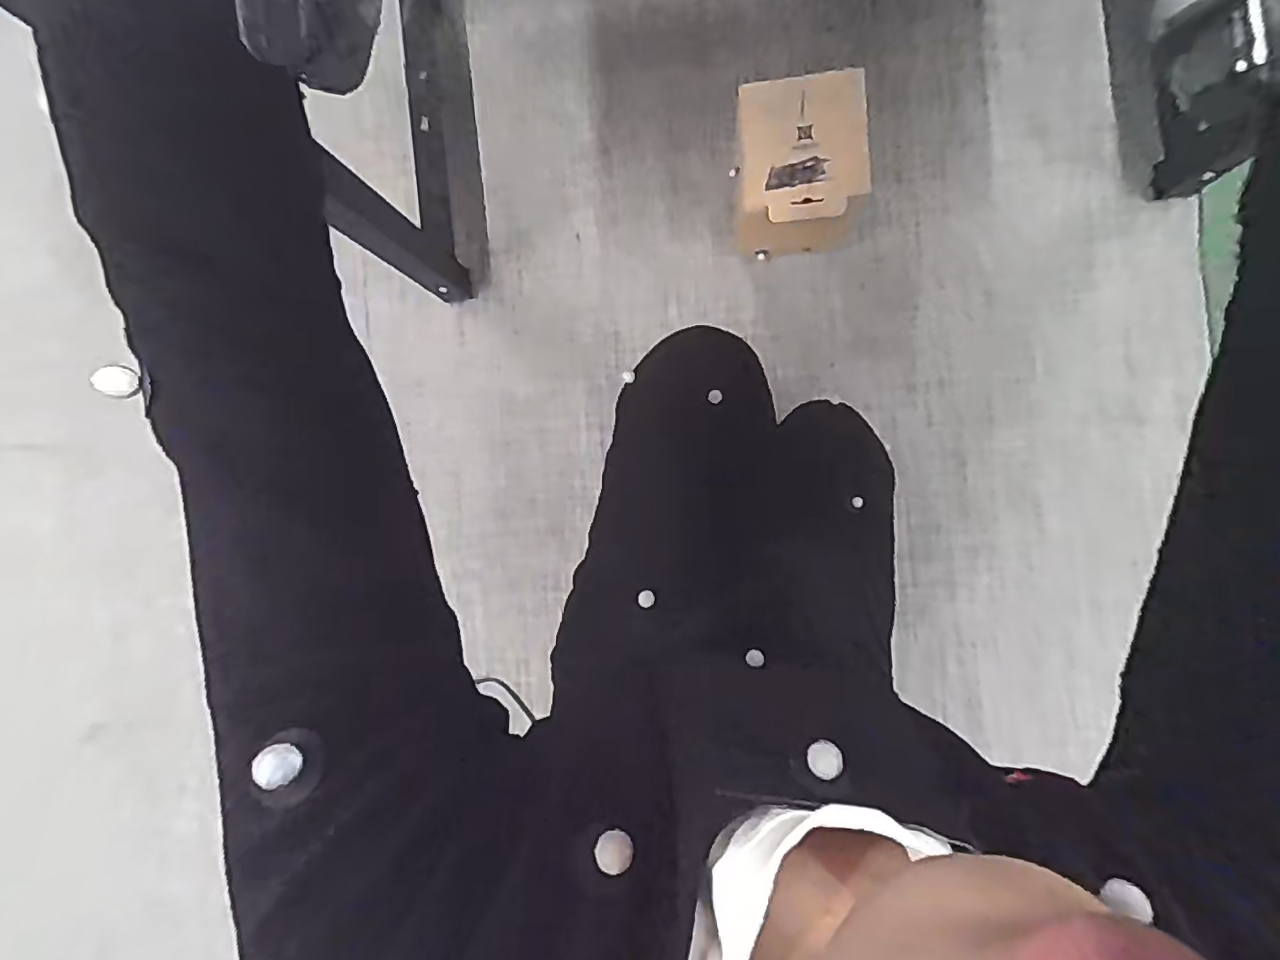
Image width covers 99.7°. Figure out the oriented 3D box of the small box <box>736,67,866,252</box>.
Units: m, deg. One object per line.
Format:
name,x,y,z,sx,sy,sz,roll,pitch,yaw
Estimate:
small box,0.229,-0.456,0.803,0.168,0.176,0.179,-2,89,8
